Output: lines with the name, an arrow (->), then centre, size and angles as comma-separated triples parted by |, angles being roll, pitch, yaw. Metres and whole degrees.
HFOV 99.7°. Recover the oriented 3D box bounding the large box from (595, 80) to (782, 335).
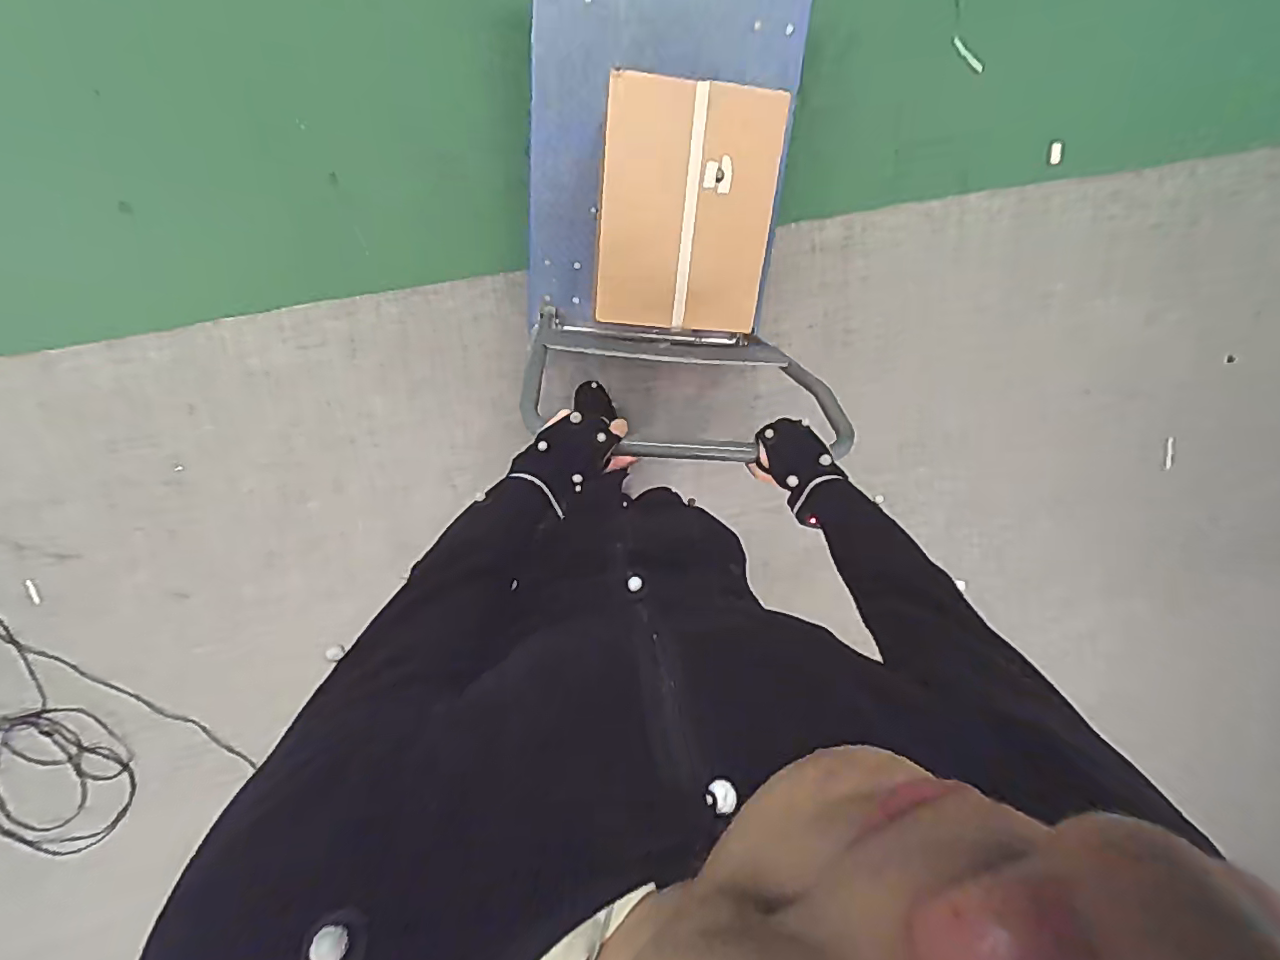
large box -> 0.067, -0.530, 1.124 | 0.320, 0.320, 0.408 | 2, 112, -8
